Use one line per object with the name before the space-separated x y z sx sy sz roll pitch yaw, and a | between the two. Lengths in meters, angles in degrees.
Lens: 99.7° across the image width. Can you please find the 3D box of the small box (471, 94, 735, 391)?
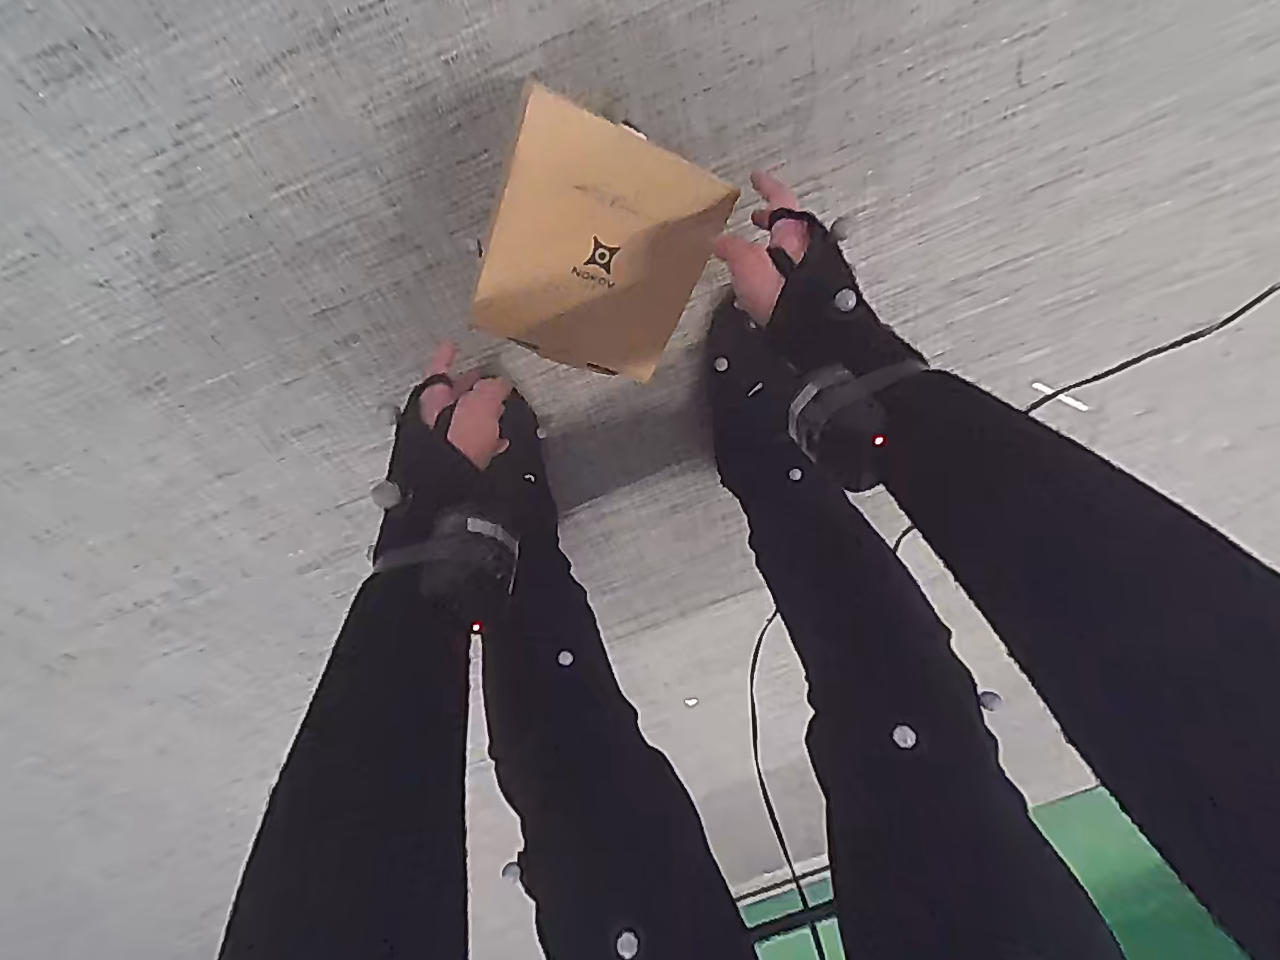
small box | -0.046 -0.213 0.489 0.168 0.176 0.179 13 122 -23
